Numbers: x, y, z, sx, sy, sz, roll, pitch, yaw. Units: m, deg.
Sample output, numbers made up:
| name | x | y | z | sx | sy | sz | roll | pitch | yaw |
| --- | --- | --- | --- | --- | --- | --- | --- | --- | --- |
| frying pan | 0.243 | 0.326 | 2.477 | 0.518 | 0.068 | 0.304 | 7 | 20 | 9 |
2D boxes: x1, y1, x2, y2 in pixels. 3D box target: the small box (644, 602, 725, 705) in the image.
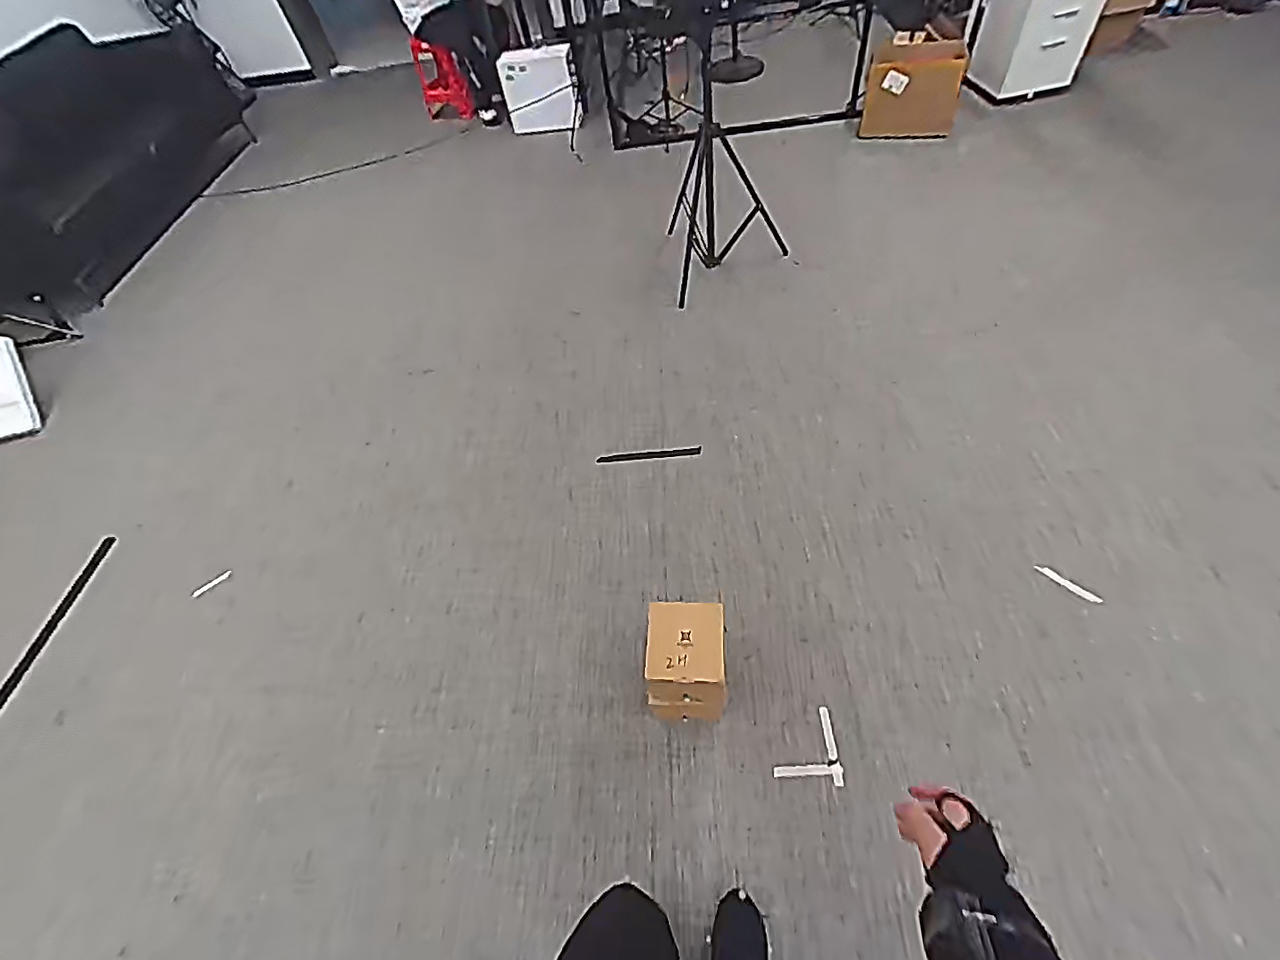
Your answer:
| name | x | y | z | sx | sy | sz | roll | pitch | yaw |
| --- | --- | --- | --- | --- | --- | --- | --- | --- | --- |
| small box | 0.107 | 0.392 | 1.223 | 0.168 | 0.176 | 0.179 | -1 | 54 | 10 |
